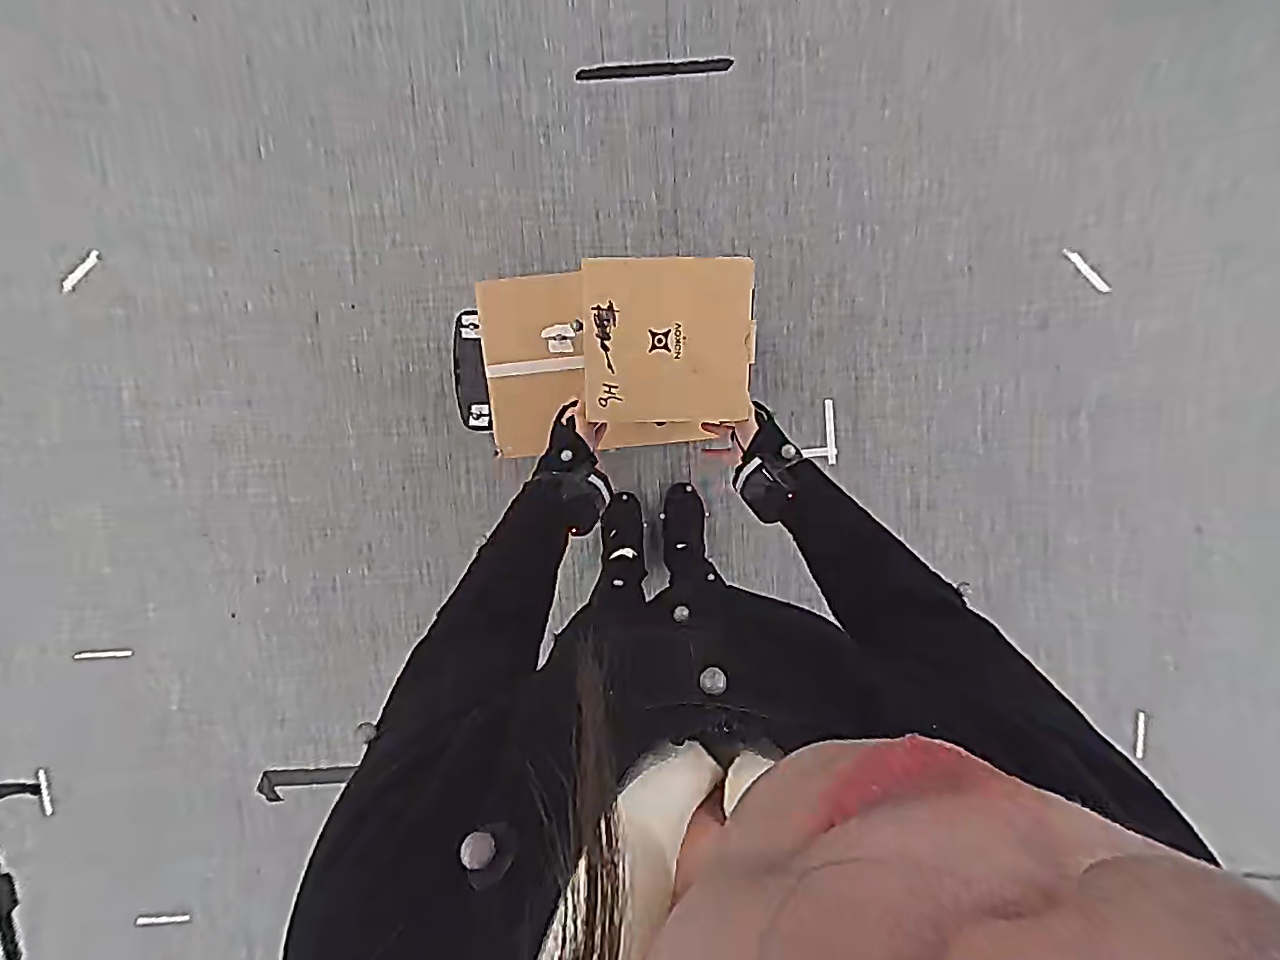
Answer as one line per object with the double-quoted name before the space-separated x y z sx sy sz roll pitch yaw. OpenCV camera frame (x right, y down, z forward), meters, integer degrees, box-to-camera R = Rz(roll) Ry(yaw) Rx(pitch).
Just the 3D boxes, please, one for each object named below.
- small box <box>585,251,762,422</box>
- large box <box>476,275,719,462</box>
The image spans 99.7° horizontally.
"small box" 0.028 -0.157 0.617 0.179 0.176 0.168 -1 102 -2
"large box" -0.071 -0.221 1.093 0.408 0.320 0.320 -6 95 0
